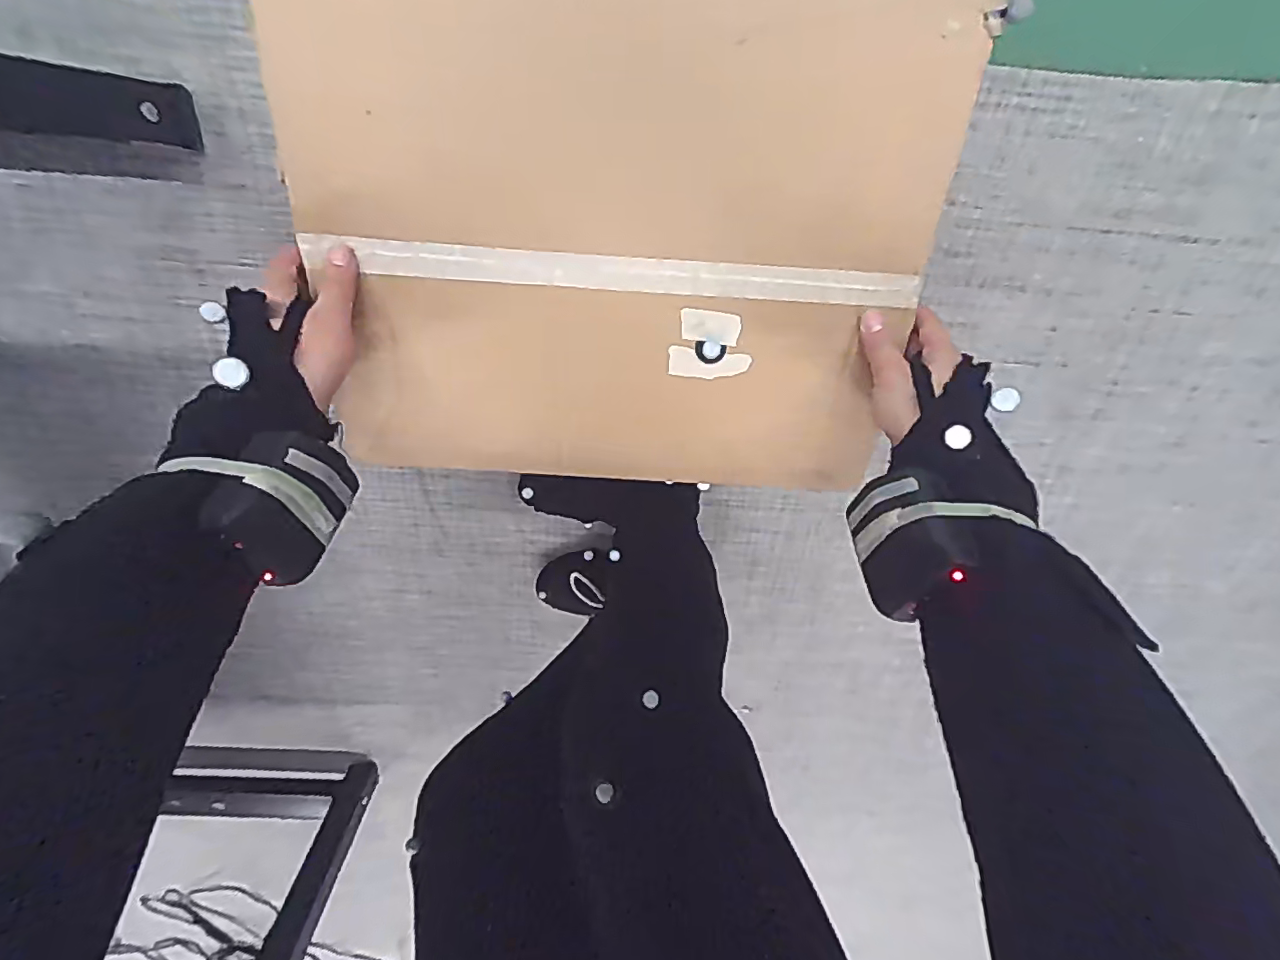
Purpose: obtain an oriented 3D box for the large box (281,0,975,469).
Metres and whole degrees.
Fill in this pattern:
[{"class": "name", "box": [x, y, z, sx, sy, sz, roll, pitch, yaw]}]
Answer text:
[{"class": "large box", "box": [-0.015, -0.217, 0.502, 0.408, 0.320, 0.320, 2, 118, -3]}]
